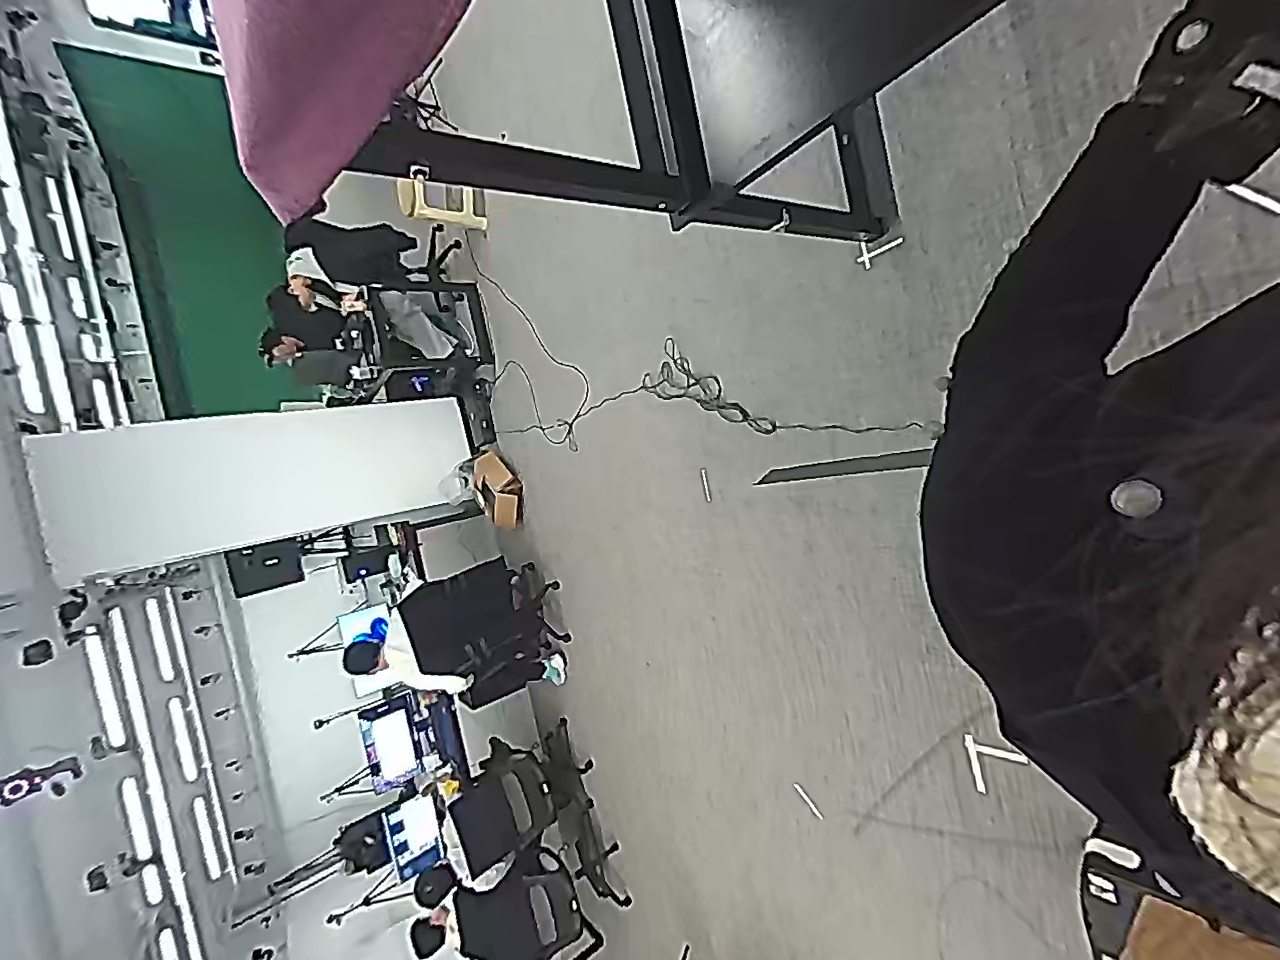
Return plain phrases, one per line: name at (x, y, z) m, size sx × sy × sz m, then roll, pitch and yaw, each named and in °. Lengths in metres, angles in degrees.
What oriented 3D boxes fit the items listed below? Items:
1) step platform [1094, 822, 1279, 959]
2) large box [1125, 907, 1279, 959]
step platform at (1.288, 0.968, 1.002) m, size 0.684 × 0.204 × 0.286 m, roll 1°, pitch 101°, yaw 53°
large box at (1.087, 1.038, 0.889) m, size 0.408 × 0.320 × 0.320 m, roll -8°, pitch 94°, yaw 54°
